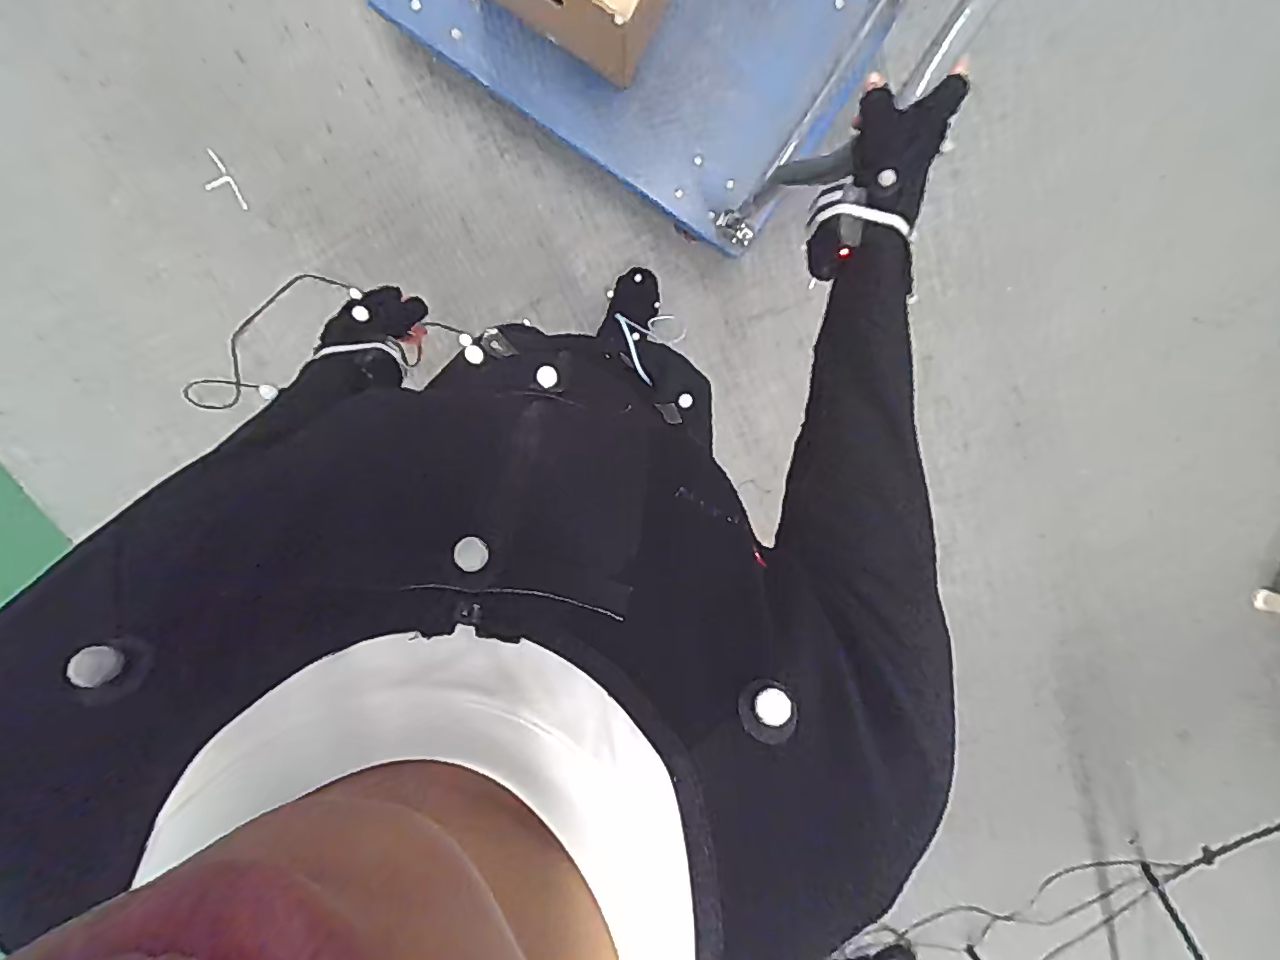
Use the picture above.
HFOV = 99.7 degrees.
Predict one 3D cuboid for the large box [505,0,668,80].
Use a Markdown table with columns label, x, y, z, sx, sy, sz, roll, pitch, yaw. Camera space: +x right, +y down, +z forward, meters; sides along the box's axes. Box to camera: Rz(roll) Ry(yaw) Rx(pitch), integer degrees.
| label | x | y | z | sx | sy | sz | roll | pitch | yaw |
| --- | --- | --- | --- | --- | --- | --- | --- | --- | --- |
| large box | -0.051 | -0.939 | 0.817 | 0.320 | 0.320 | 0.408 | 26 | 109 | -11 |
